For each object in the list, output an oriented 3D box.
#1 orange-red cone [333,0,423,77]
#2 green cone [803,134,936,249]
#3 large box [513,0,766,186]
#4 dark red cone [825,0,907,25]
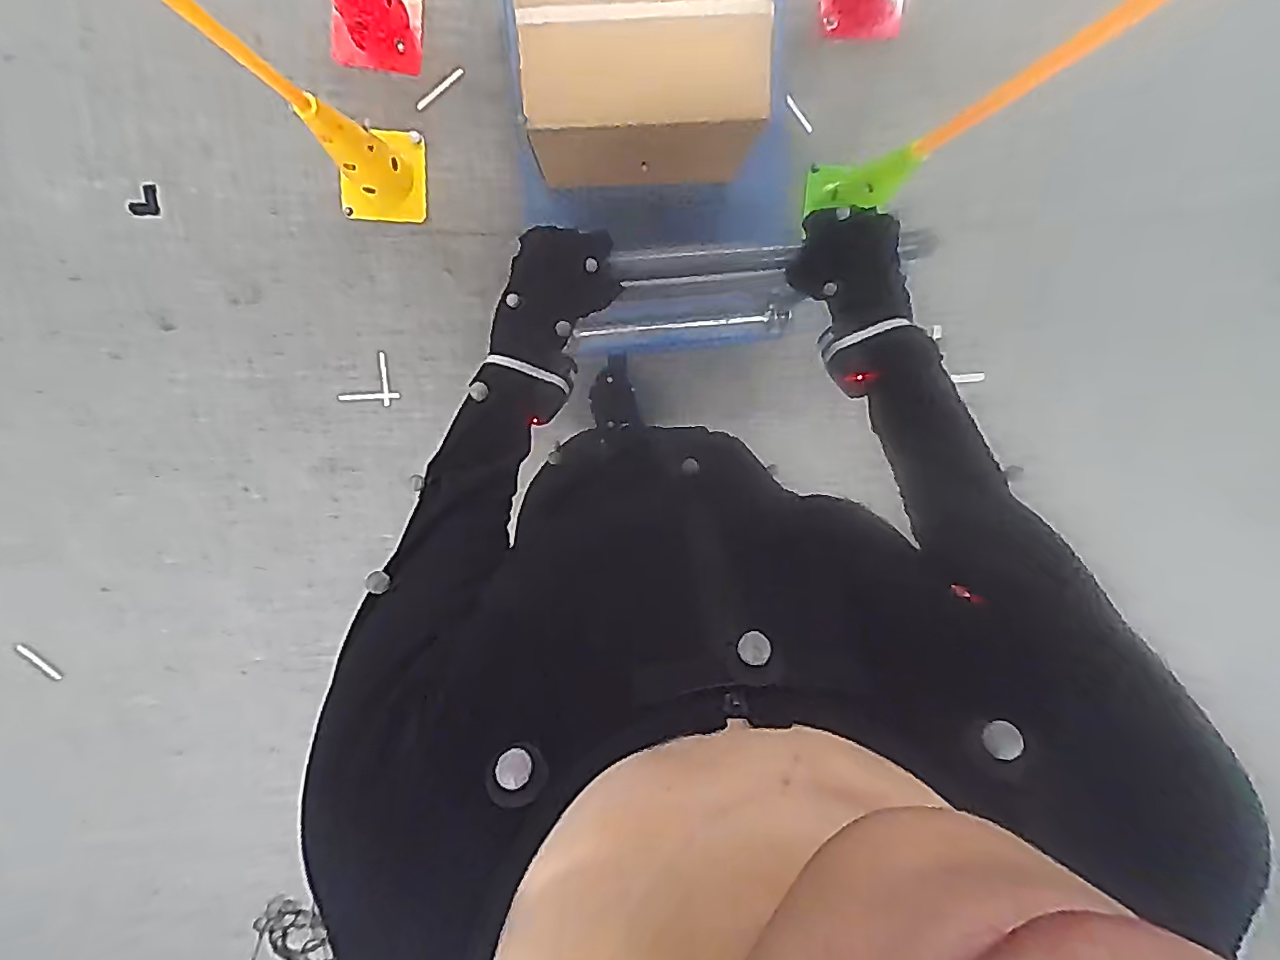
[{"bbox_3d":[-0.591,-1.021,1.075,0.198,0.360,0.199,6,99,-5],"label":"orange-red cone"},{"bbox_3d":[0.526,-0.662,1.197,0.202,0.368,0.200,2,101,-4],"label":"green cone"},{"bbox_3d":[-0.003,-0.768,1.004,0.408,0.320,0.320,-4,102,-1],"label":"large box"},{"bbox_3d":[0.537,-1.135,1.089,0.201,0.394,0.202,-2,101,-4],"label":"dark red cone"}]
